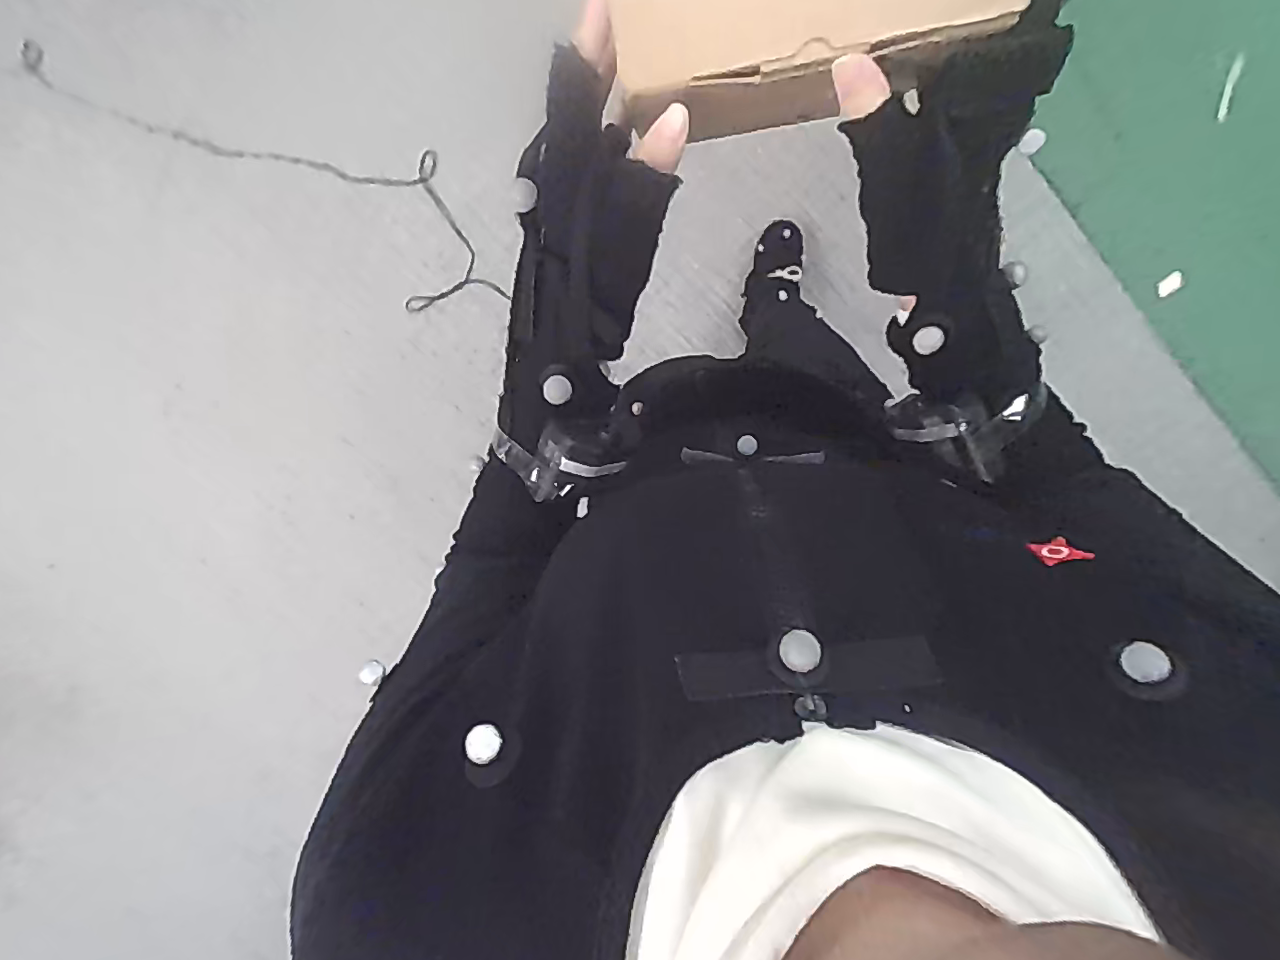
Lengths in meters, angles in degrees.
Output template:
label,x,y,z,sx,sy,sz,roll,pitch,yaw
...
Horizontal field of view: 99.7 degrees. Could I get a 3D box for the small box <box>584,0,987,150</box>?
label,x,y,z,sx,sy,sz,roll,pitch,yaw
small box,0.056,-0.285,0.274,0.168,0.176,0.179,-8,112,7
